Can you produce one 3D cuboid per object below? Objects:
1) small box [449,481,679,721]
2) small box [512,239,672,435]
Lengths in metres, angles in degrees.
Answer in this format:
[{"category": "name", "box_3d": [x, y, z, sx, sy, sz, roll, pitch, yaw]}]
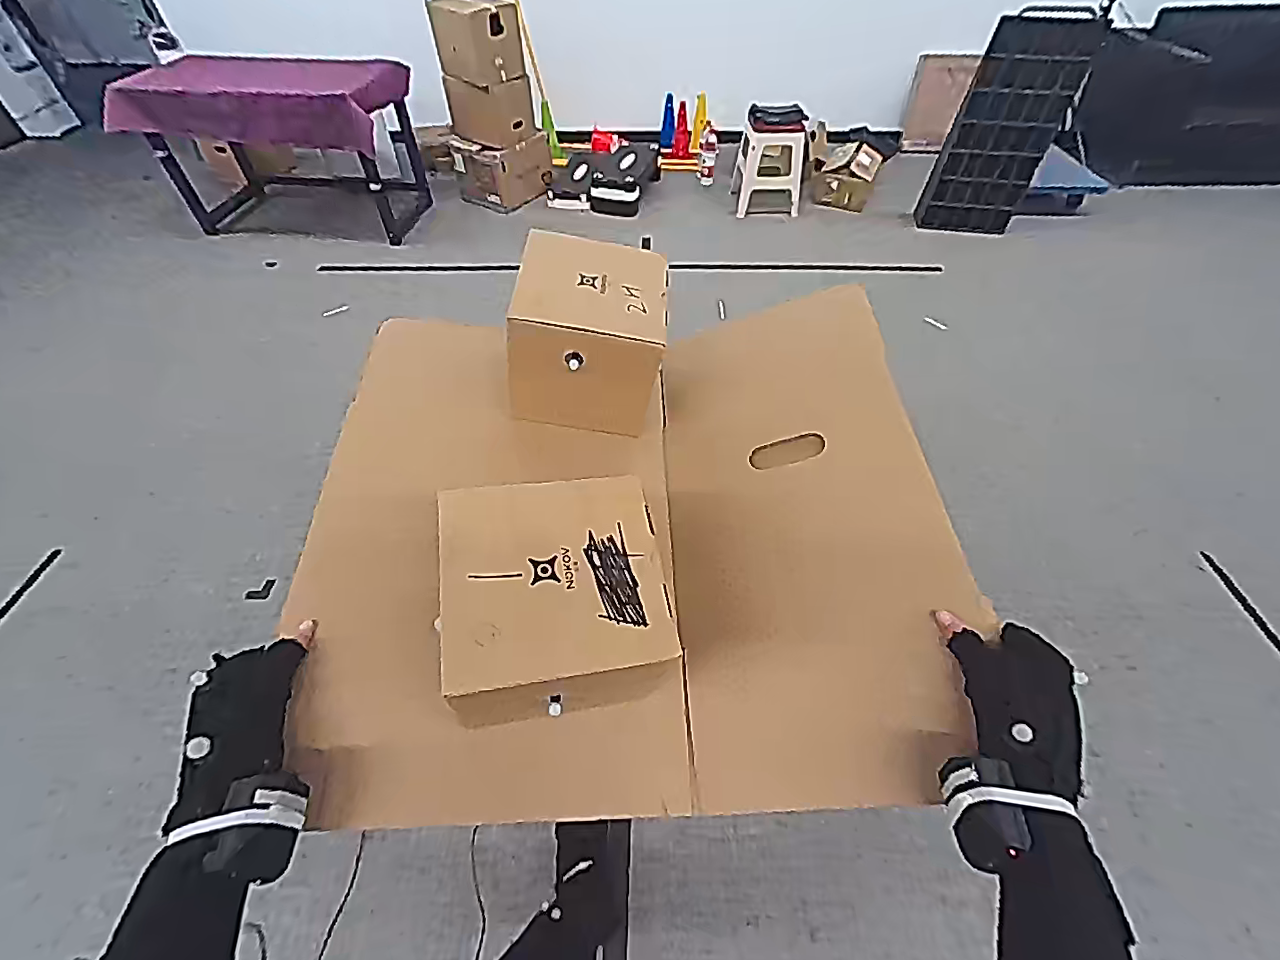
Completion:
[{"category": "small box", "box_3d": [-0.080, 0.117, 0.509, 0.179, 0.176, 0.168, -4, 59, -14]}, {"category": "small box", "box_3d": [-0.064, -0.178, 0.704, 0.179, 0.176, 0.168, 9, 56, -7]}]
